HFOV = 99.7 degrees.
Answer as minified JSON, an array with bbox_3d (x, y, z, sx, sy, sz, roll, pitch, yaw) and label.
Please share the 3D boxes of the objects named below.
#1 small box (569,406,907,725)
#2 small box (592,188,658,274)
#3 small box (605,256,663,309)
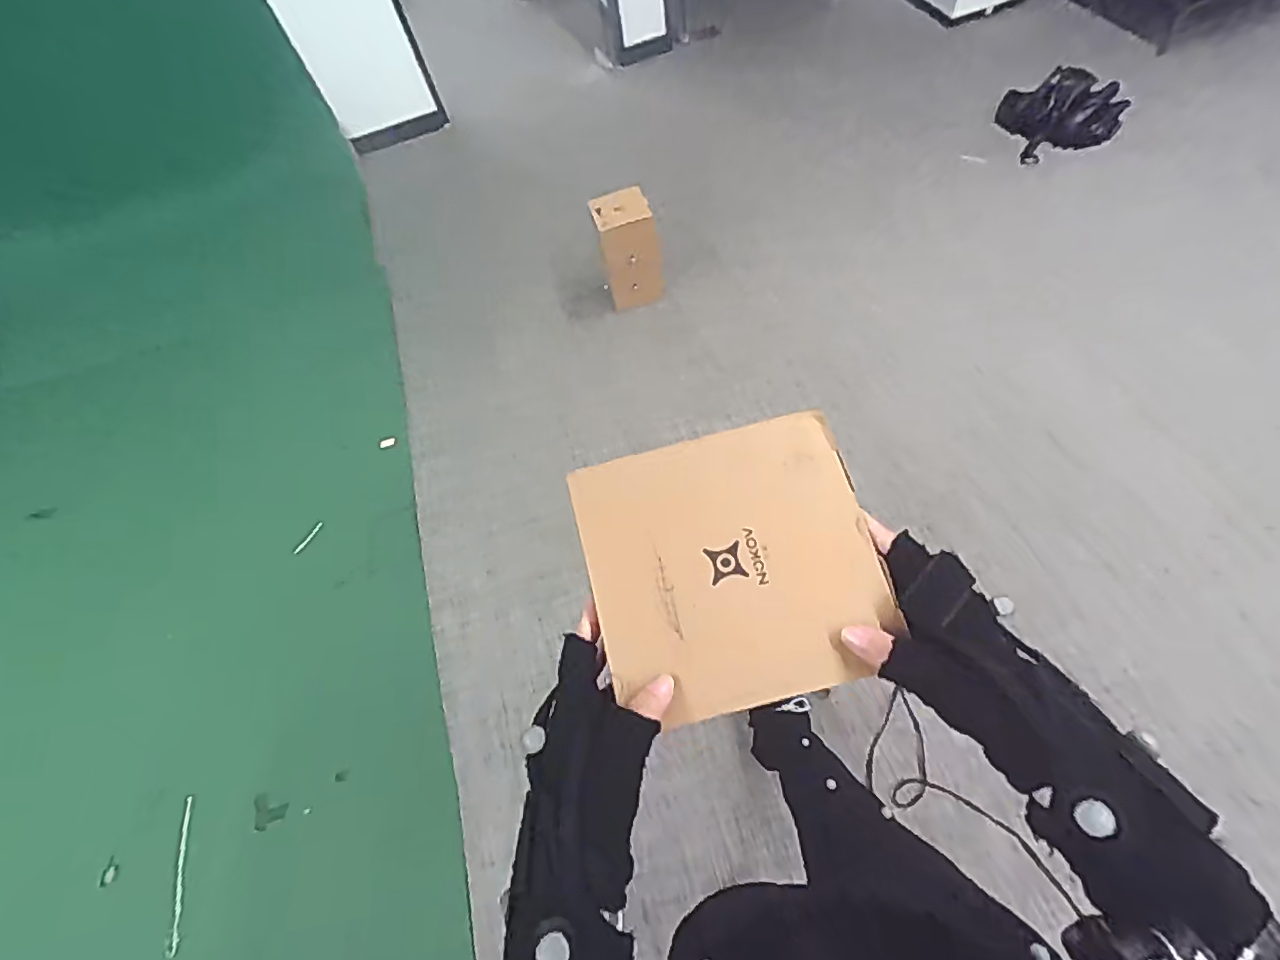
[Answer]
[{"bbox_3d":[0.060,0.069,0.413,0.179,0.176,0.168,-16,72,1],"label":"small box"},{"bbox_3d":[-0.043,-0.806,1.760,0.179,0.176,0.168,-17,60,0],"label":"small box"},{"bbox_3d":[-0.022,-0.733,1.902,0.179,0.176,0.168,-15,59,1],"label":"small box"}]
